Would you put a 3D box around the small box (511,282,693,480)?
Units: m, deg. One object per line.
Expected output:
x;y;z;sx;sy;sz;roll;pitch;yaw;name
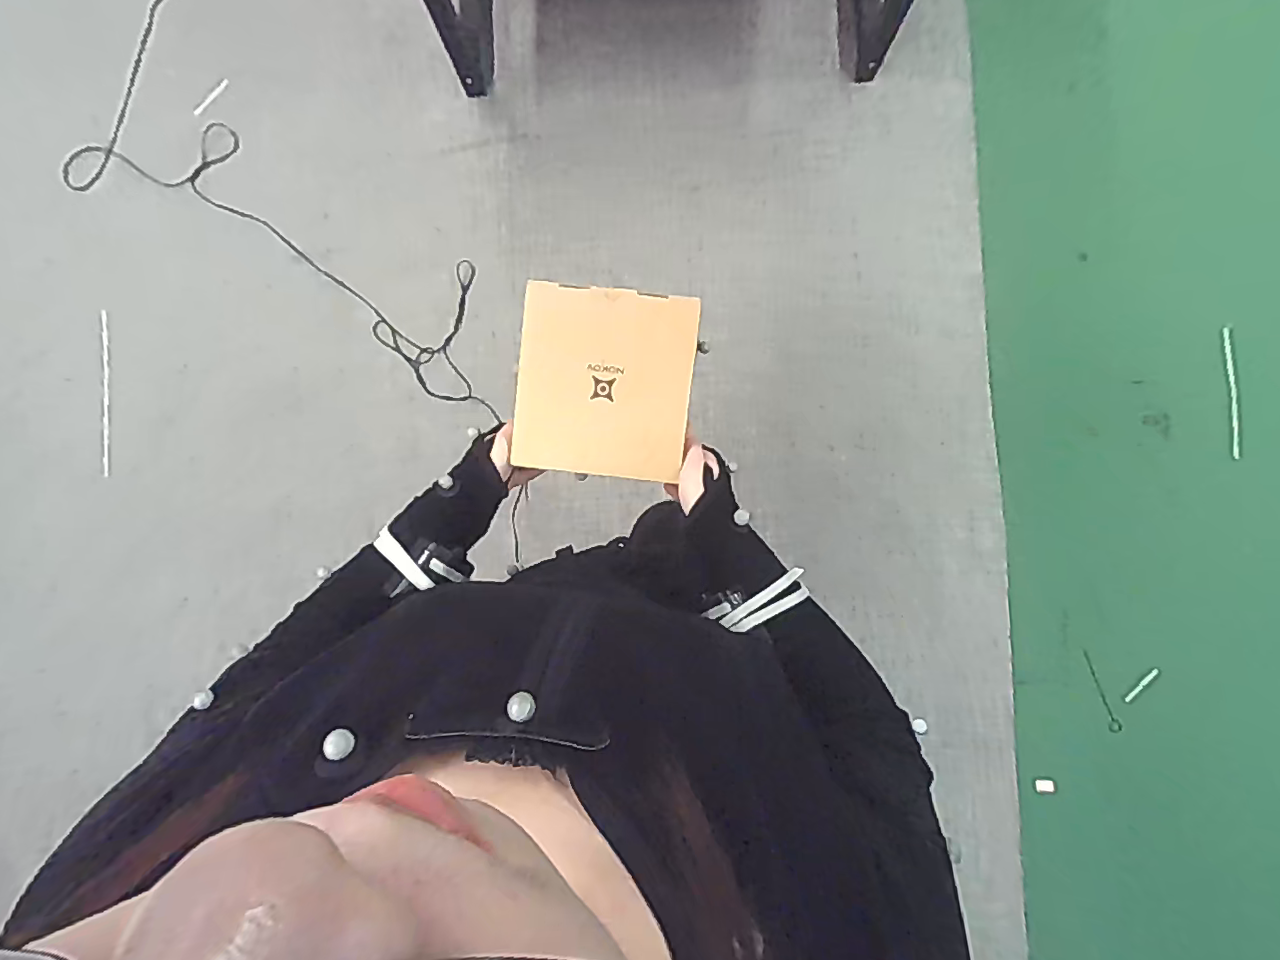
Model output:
-0.035;-0.103;0.602;0.168;0.176;0.179;6;96;1;small box
